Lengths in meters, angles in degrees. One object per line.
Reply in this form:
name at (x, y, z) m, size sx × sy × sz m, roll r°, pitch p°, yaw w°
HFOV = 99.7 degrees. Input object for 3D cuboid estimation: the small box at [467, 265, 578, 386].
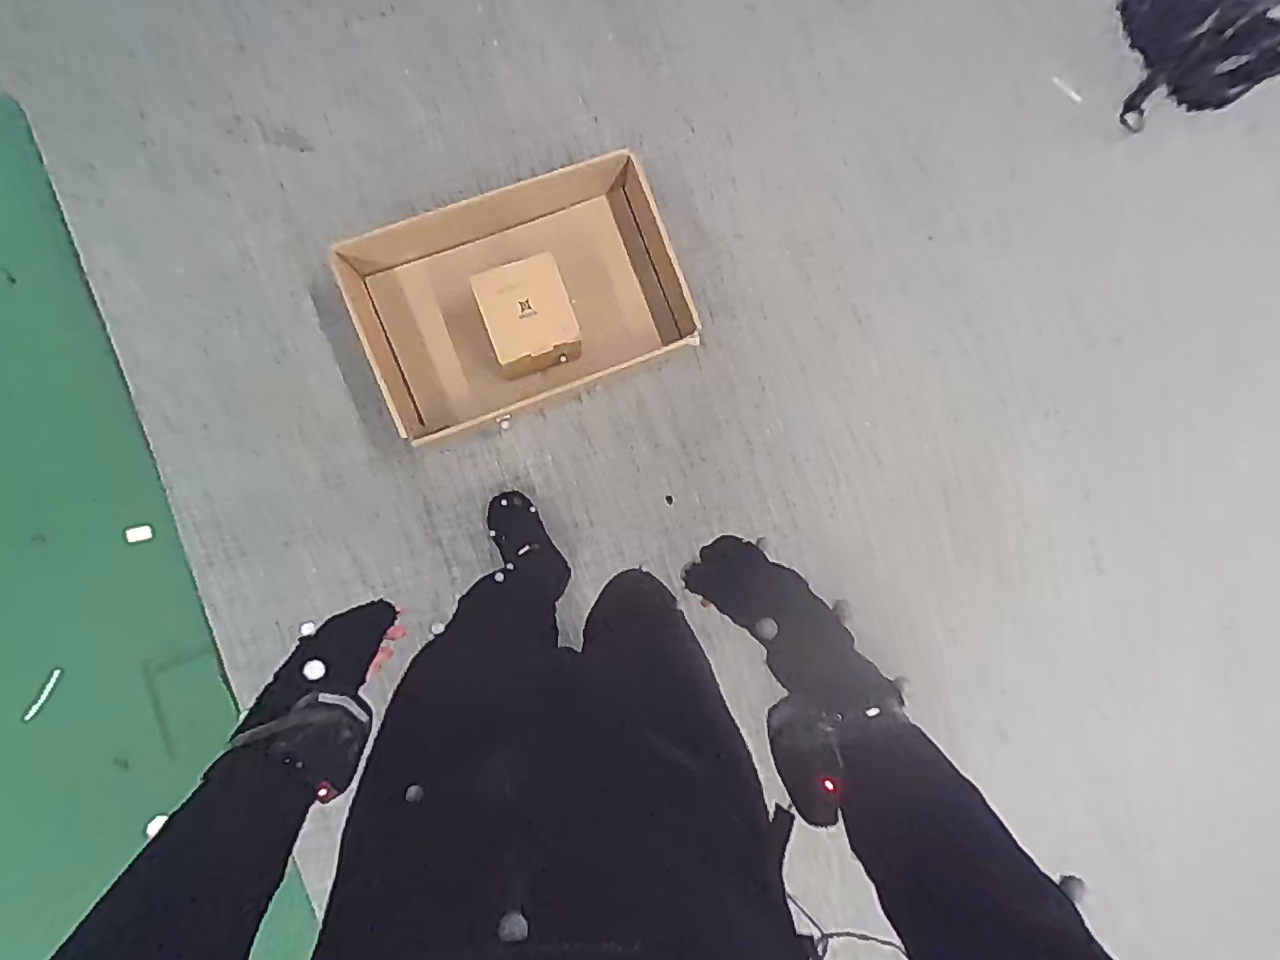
small box at (-0.229, -0.302, 1.099) m, size 0.168 × 0.176 × 0.179 m, roll -20°, pitch 91°, yaw -8°
